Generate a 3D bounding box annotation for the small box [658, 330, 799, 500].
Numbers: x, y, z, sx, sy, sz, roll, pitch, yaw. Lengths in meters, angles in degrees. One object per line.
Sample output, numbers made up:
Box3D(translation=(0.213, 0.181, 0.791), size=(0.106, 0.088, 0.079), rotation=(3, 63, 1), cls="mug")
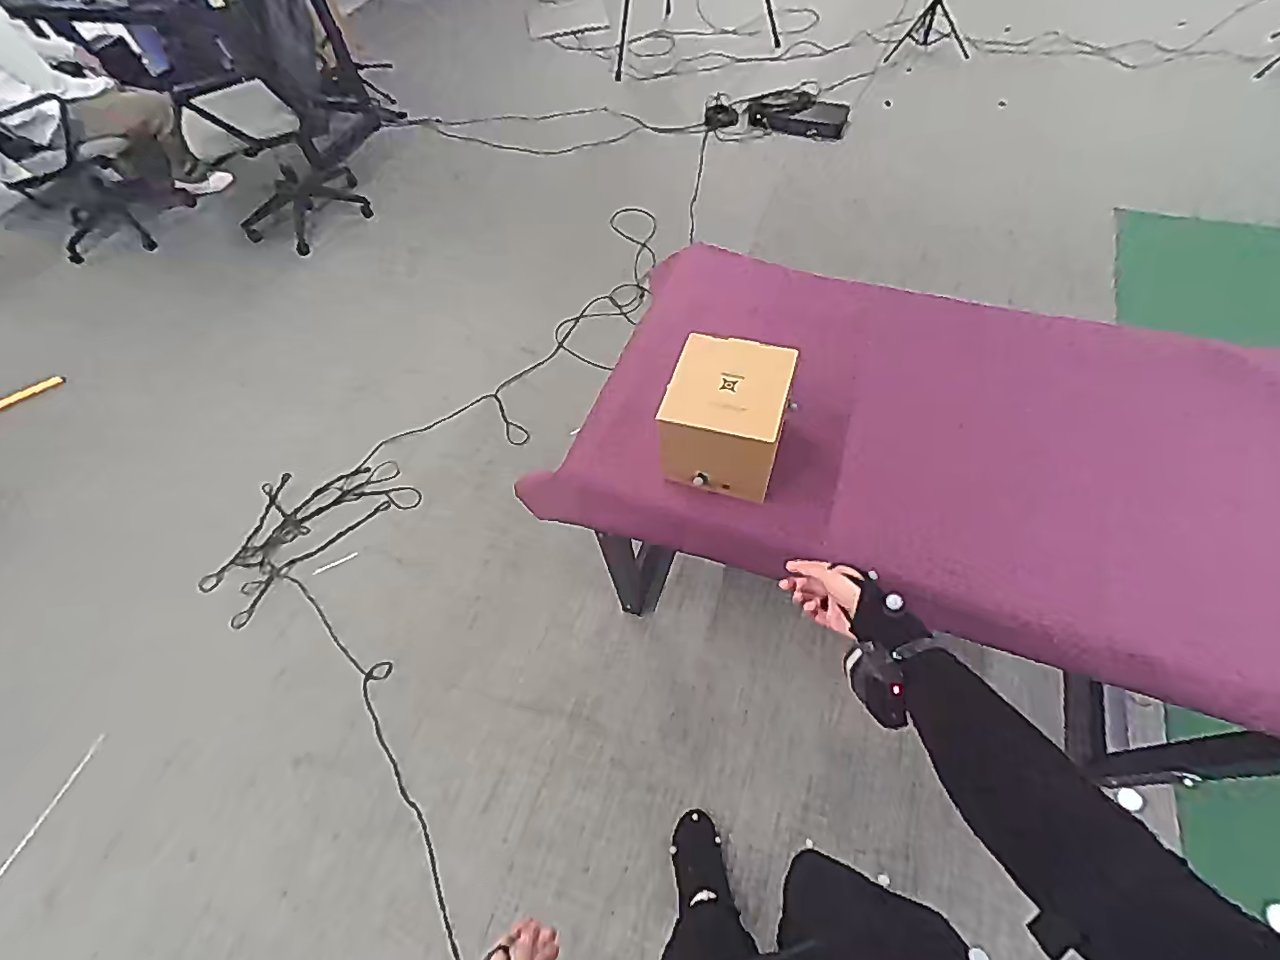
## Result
Box3D(translation=(0.133, -0.097, 0.831), size=(0.168, 0.176, 0.179), rotation=(15, 61, 15), cls="small box")
